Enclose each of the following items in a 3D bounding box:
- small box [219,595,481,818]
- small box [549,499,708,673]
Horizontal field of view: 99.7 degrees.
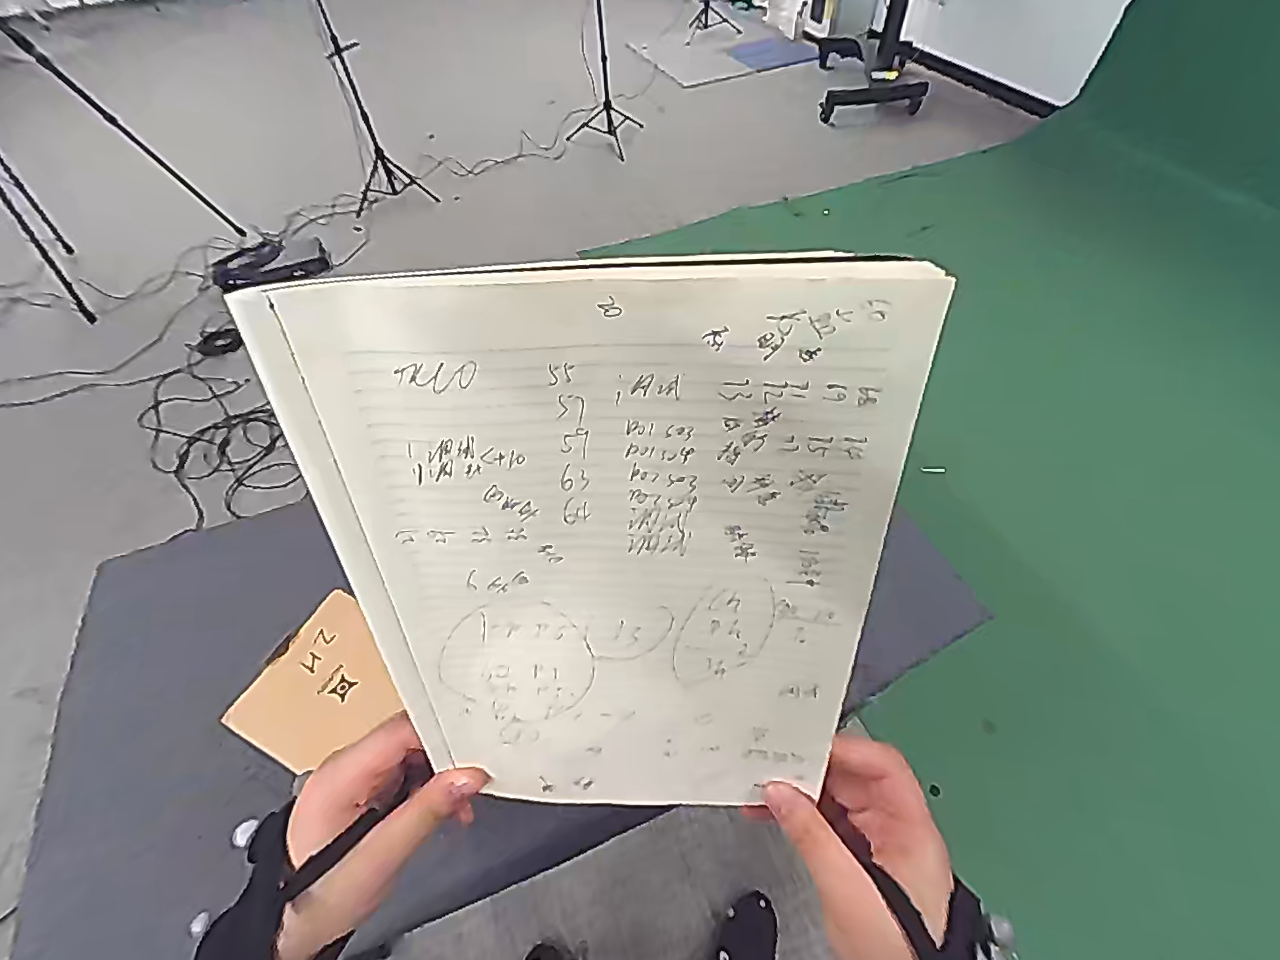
[{"bbox_3d":[-0.316,0.269,0.634,0.179,0.176,0.168,20,56,17],"label":"small box"},{"bbox_3d":[-0.004,0.143,0.711,0.179,0.176,0.168,3,53,7],"label":"small box"}]
